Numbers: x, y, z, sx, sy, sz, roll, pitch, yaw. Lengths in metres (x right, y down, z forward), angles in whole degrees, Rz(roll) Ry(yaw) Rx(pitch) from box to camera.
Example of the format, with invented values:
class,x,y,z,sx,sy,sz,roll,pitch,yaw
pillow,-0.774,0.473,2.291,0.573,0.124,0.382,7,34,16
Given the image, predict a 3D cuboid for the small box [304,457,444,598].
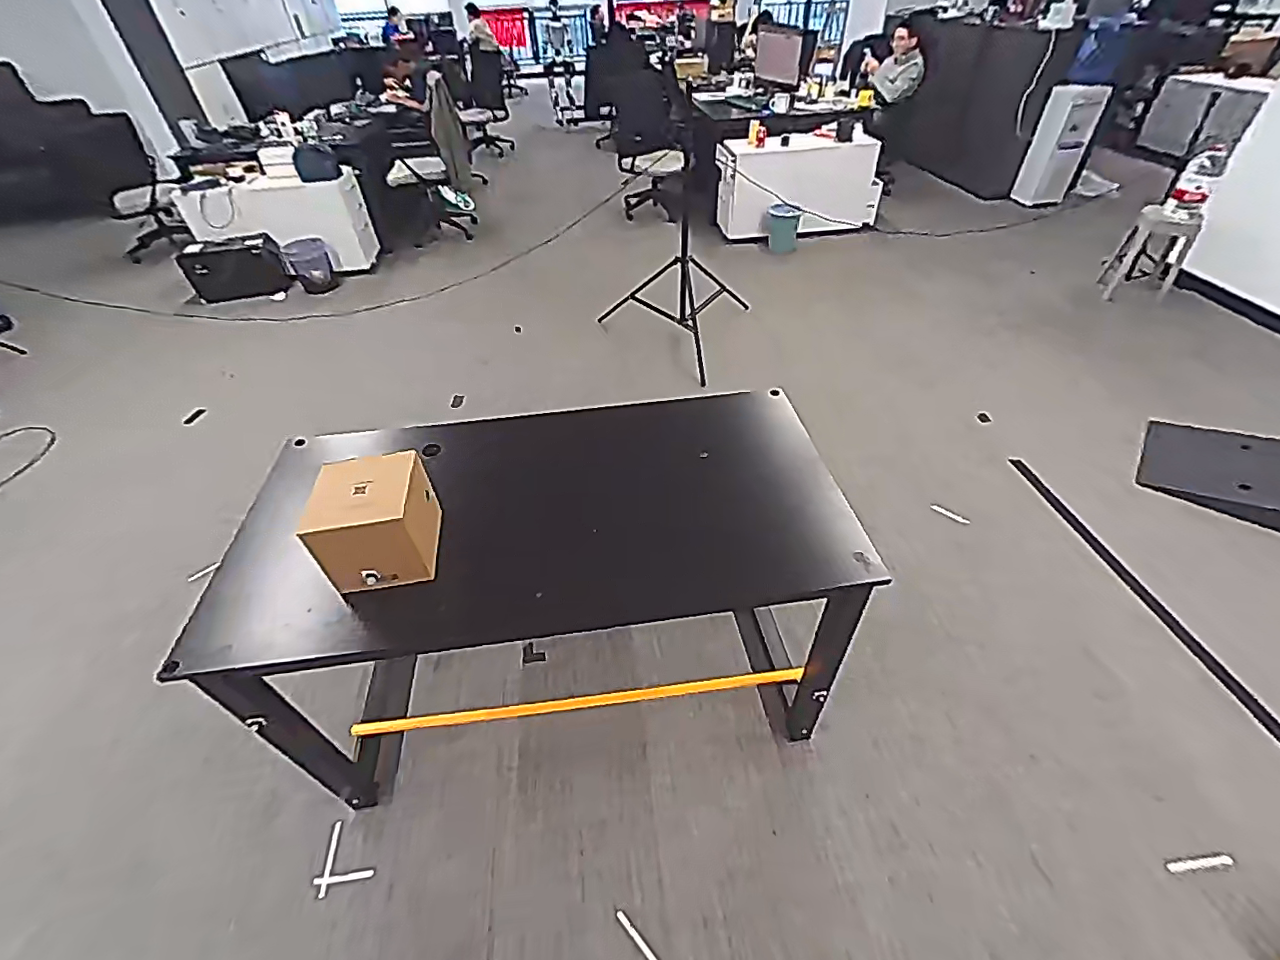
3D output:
class,x,y,z,sx,sy,sz,roll,pitch,yaw
small box,-0.464,0.086,0.978,0.168,0.176,0.179,-10,44,-6
